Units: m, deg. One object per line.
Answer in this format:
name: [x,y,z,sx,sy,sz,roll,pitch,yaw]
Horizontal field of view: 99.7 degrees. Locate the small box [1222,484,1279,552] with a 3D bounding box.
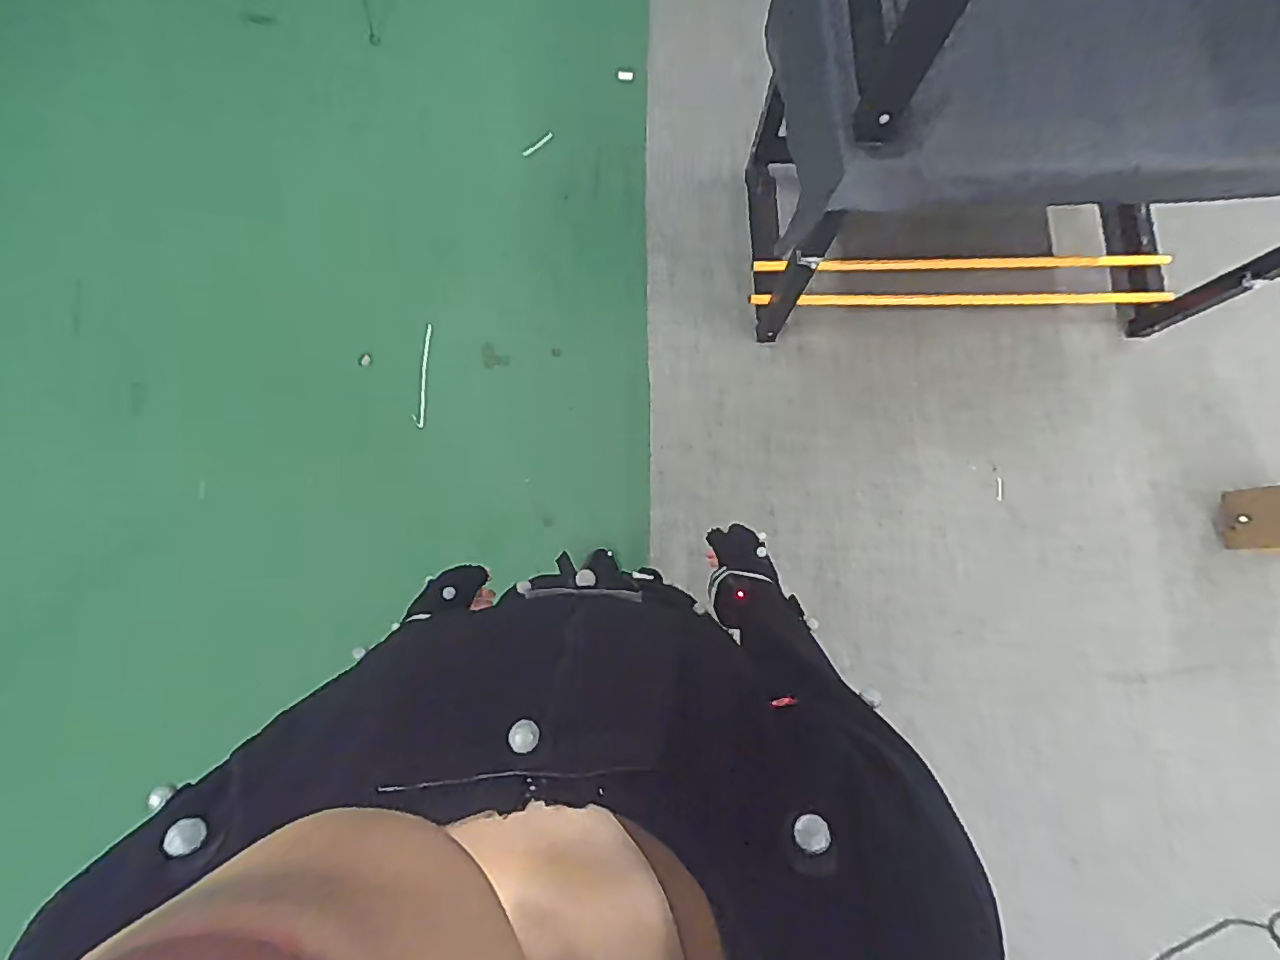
small box: [1.728,0.102,1.441,0.179,0.176,0.168,5,80,1]
